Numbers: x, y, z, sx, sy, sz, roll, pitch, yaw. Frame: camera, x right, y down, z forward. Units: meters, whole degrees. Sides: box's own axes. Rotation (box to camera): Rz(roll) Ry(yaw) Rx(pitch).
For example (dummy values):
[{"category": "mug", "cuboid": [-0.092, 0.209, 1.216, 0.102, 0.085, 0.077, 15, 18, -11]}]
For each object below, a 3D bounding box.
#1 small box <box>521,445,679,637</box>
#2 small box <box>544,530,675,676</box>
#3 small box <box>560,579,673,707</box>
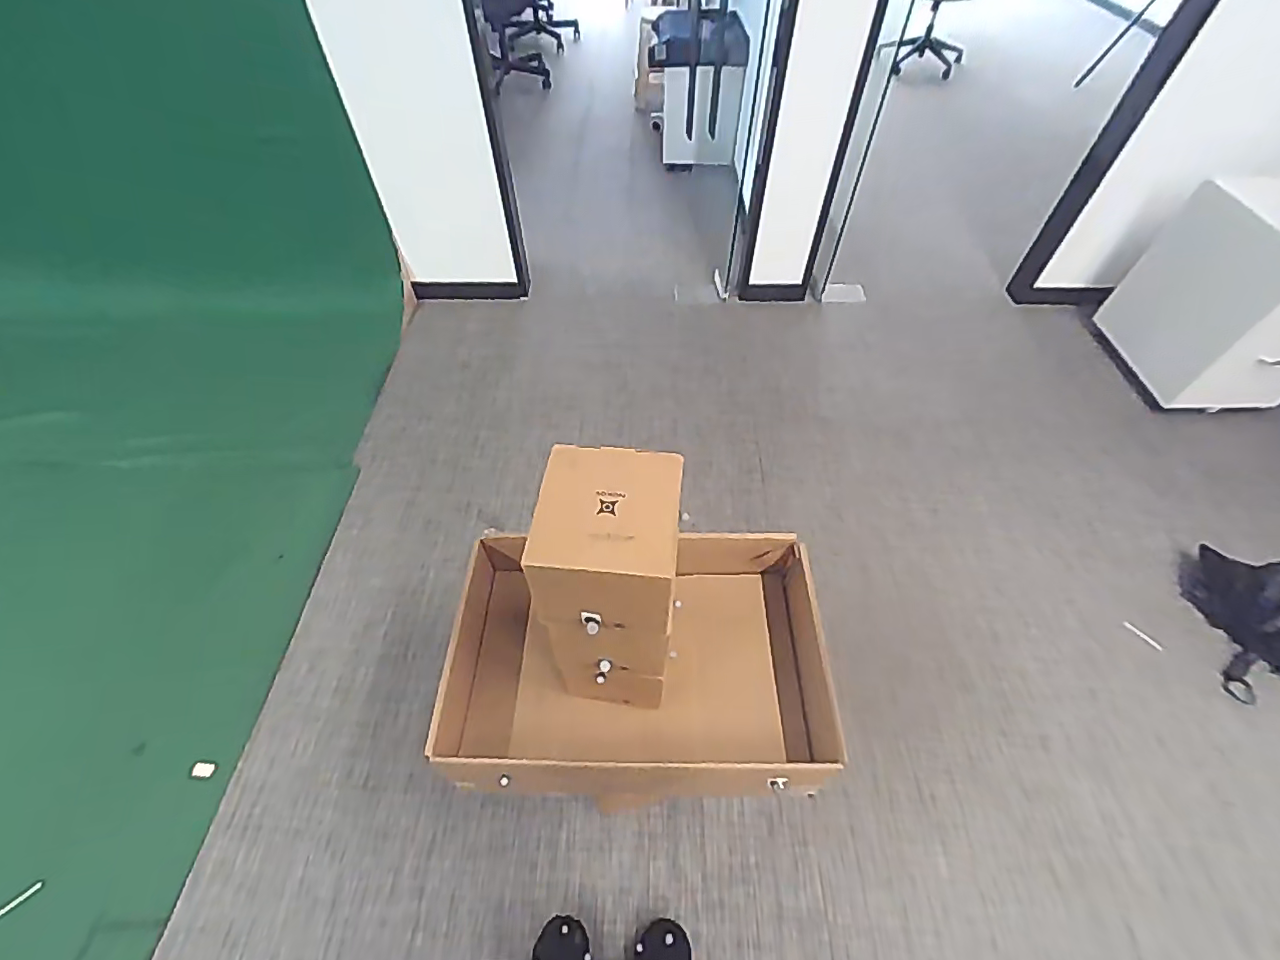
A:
[{"category": "small box", "cuboid": [-0.041, 0.080, 0.691, 0.168, 0.176, 0.179, 4, 53, 3]}, {"category": "small box", "cuboid": [-0.041, 0.175, 0.821, 0.168, 0.176, 0.179, 5, 53, 3]}, {"category": "small box", "cuboid": [-0.037, 0.276, 0.950, 0.168, 0.176, 0.179, 7, 52, 5]}]
